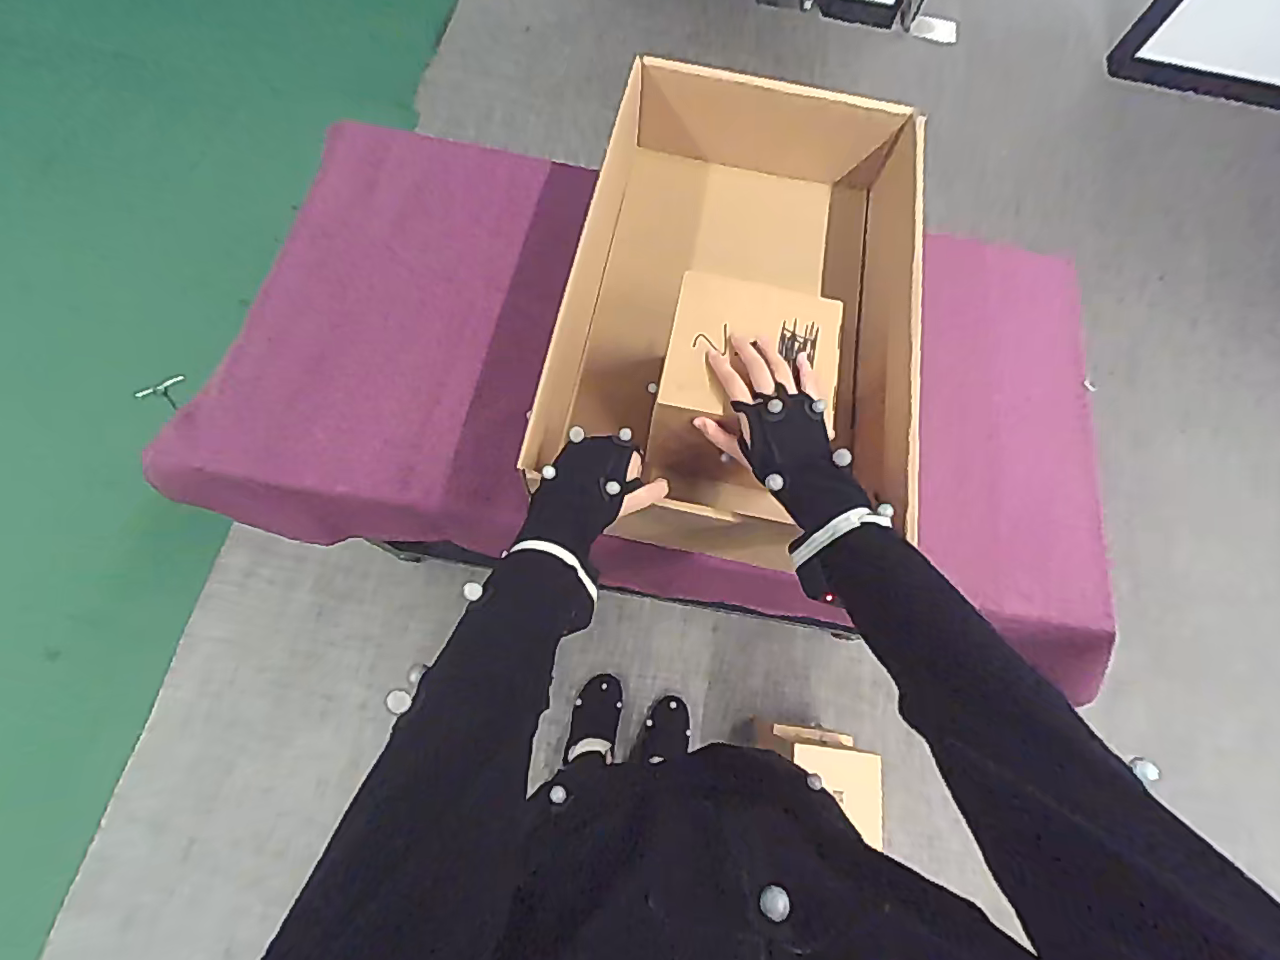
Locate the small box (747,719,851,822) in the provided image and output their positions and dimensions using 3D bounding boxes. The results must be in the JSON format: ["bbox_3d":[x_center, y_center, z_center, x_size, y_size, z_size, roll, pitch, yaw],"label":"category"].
[{"bbox_3d":[0.352,0.642,1.215,0.179,0.176,0.168,9,71,0],"label":"small box"}]
